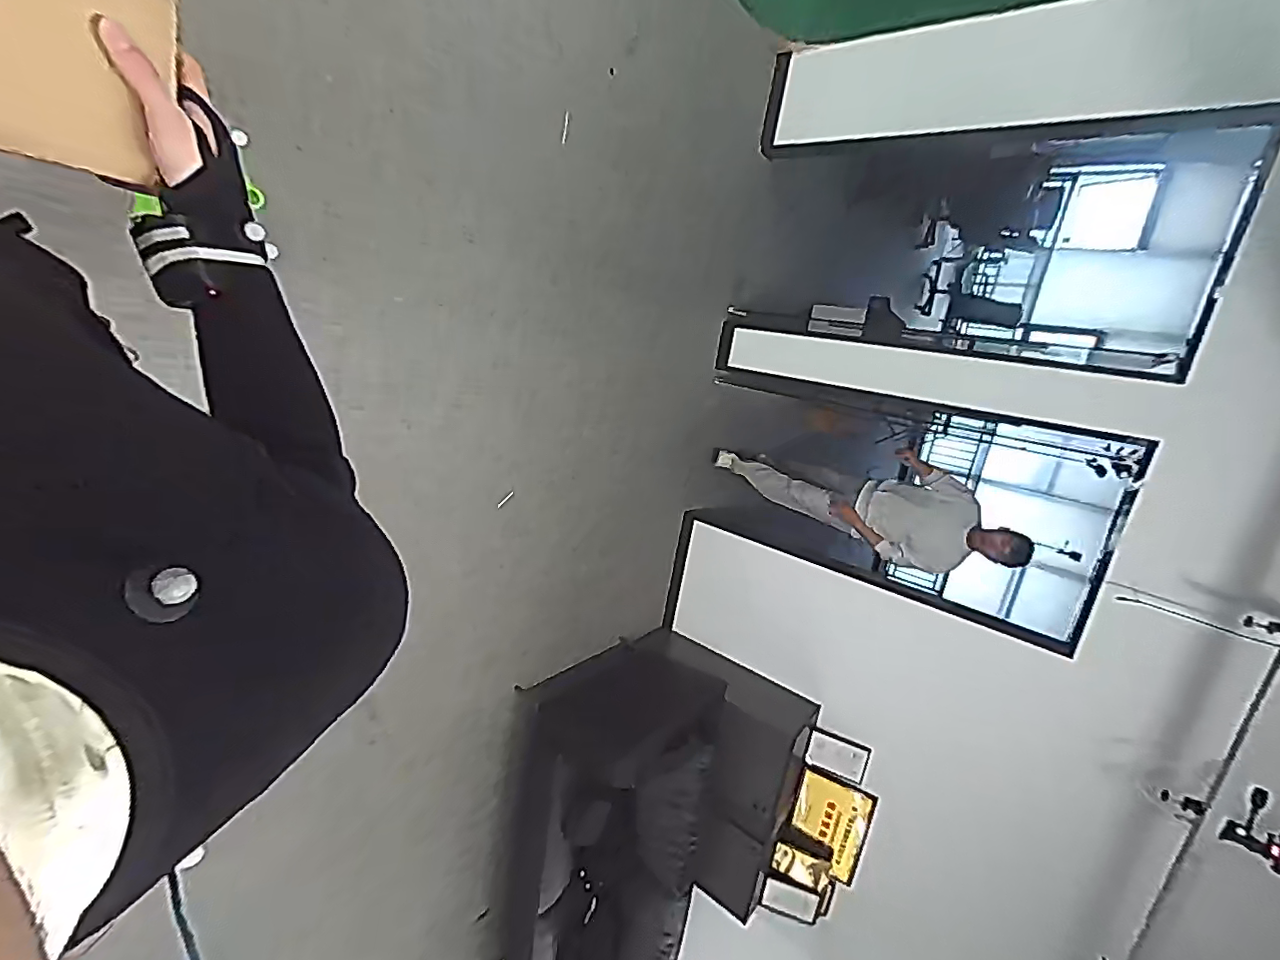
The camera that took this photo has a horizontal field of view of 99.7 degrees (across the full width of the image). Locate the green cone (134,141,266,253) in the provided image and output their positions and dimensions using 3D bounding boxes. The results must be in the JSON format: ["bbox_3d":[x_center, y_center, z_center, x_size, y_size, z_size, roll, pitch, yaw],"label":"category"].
[{"bbox_3d":[-0.874,-0.600,1.132,0.200,0.368,0.202,2,103,-55],"label":"green cone"}]
